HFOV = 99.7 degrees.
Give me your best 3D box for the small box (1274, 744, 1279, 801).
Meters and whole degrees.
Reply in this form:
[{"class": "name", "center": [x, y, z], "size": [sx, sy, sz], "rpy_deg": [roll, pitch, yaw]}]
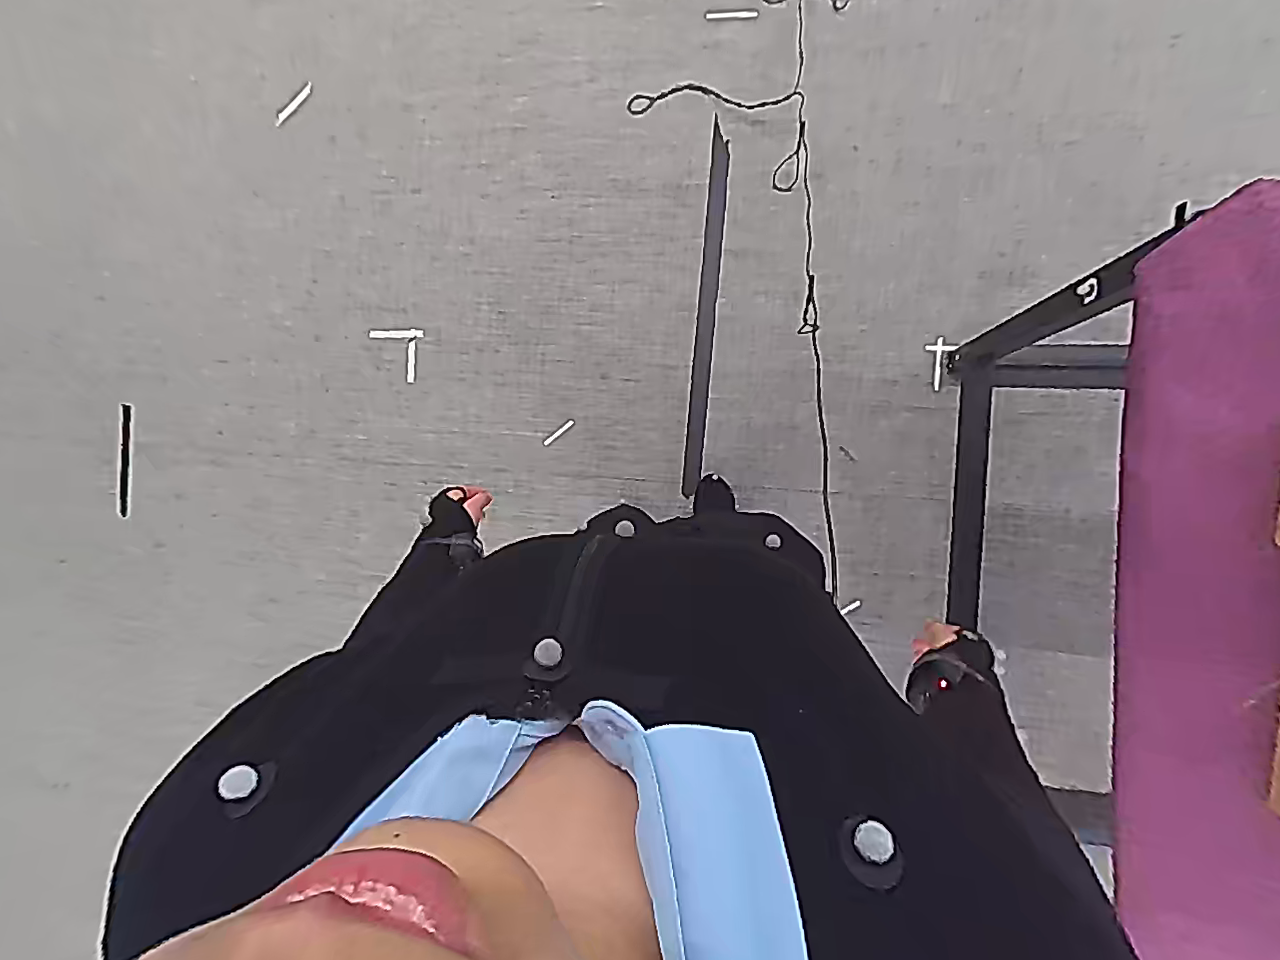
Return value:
[{"class": "small box", "center": [0.834, 0.316, 0.558], "size": [0.168, 0.176, 0.179], "rpy_deg": [7, 92, 9]}]
